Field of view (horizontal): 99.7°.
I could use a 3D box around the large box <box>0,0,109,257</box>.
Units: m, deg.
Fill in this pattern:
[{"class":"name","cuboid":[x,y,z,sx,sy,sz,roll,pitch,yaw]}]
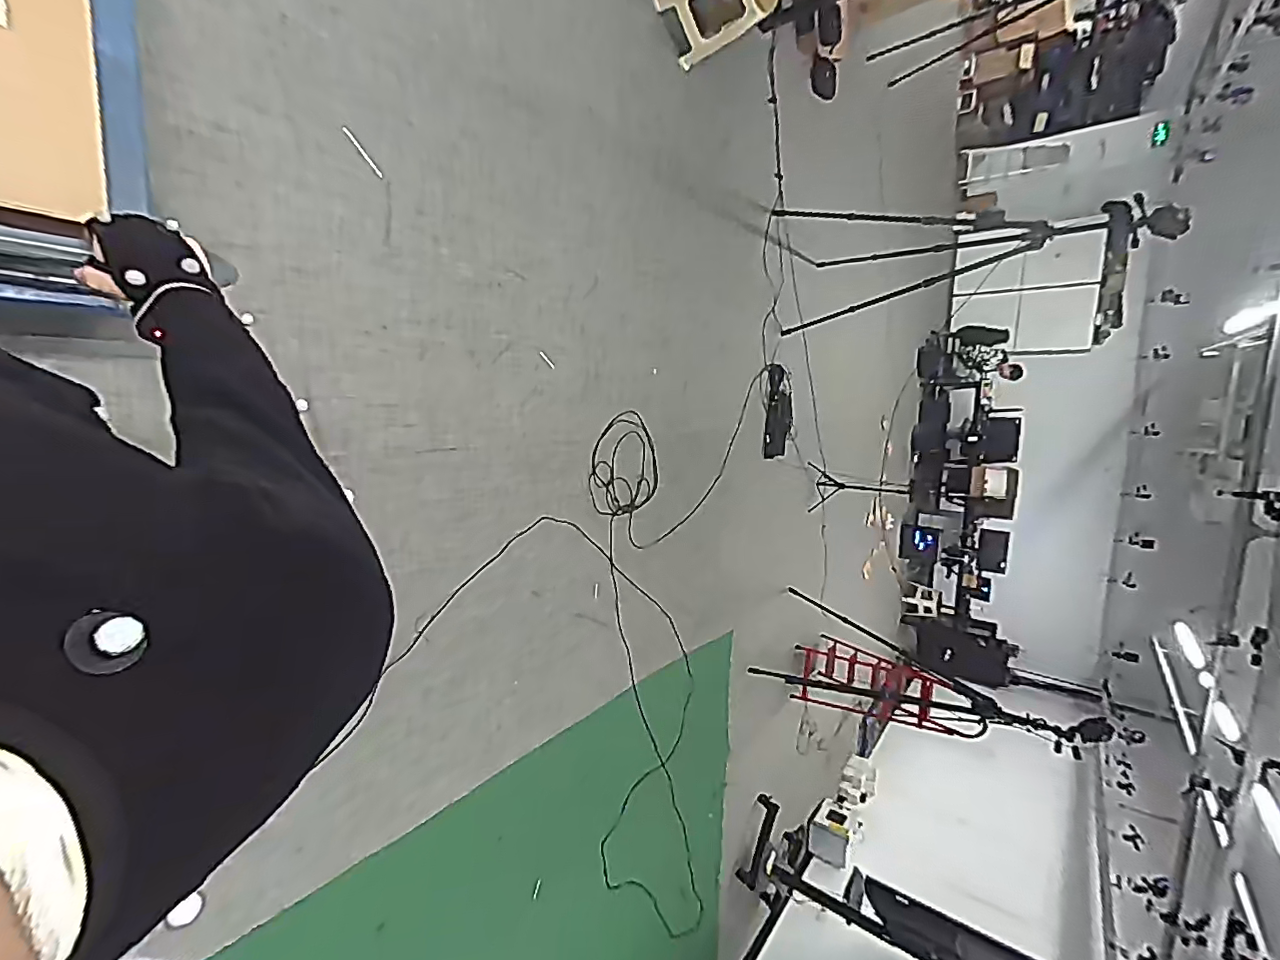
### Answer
[{"class":"large box","cuboid":[-1.040,-0.585,0.791,0.320,0.320,0.408,-9,101,-51]}]
